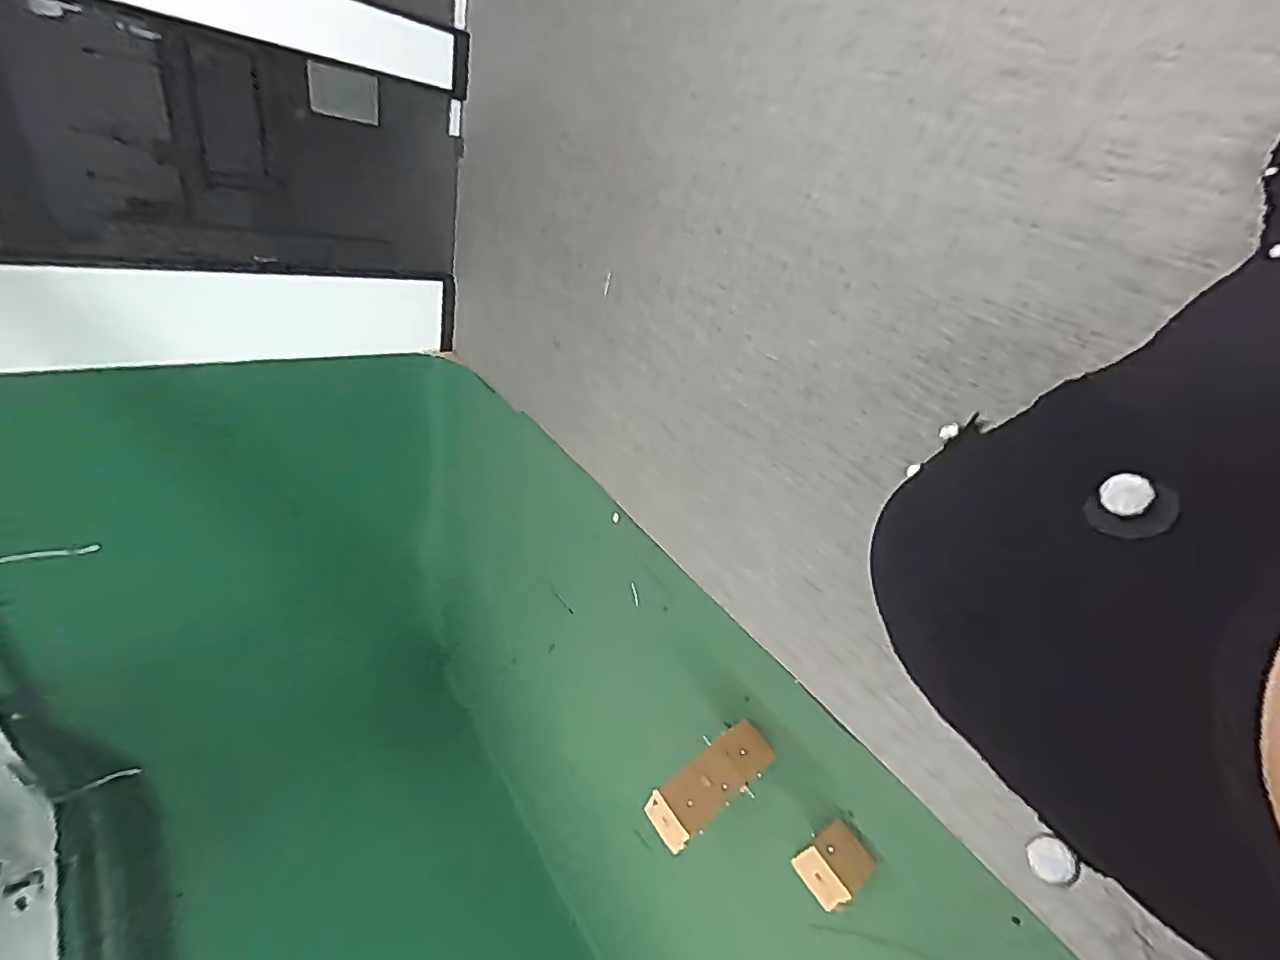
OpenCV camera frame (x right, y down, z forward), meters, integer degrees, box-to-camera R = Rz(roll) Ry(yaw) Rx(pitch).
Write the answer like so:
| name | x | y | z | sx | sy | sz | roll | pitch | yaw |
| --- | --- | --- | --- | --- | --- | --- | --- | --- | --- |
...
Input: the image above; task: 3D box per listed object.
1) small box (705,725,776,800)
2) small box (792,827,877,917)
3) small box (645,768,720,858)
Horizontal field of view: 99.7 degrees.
| name | x | y | z | sx | sy | sz | roll | pitch | yaw |
| --- | --- | --- | --- | --- | --- | --- | --- | --- | --- |
| small box | 0.389 | 1.083 | 2.094 | 0.179 | 0.176 | 0.168 | 46 | 131 | 31 |
| small box | 0.661 | 1.322 | 1.841 | 0.179 | 0.176 | 0.168 | 47 | 133 | 30 |
| small box | 0.150 | 1.152 | 1.880 | 0.179 | 0.176 | 0.168 | 44 | 131 | 32 |
